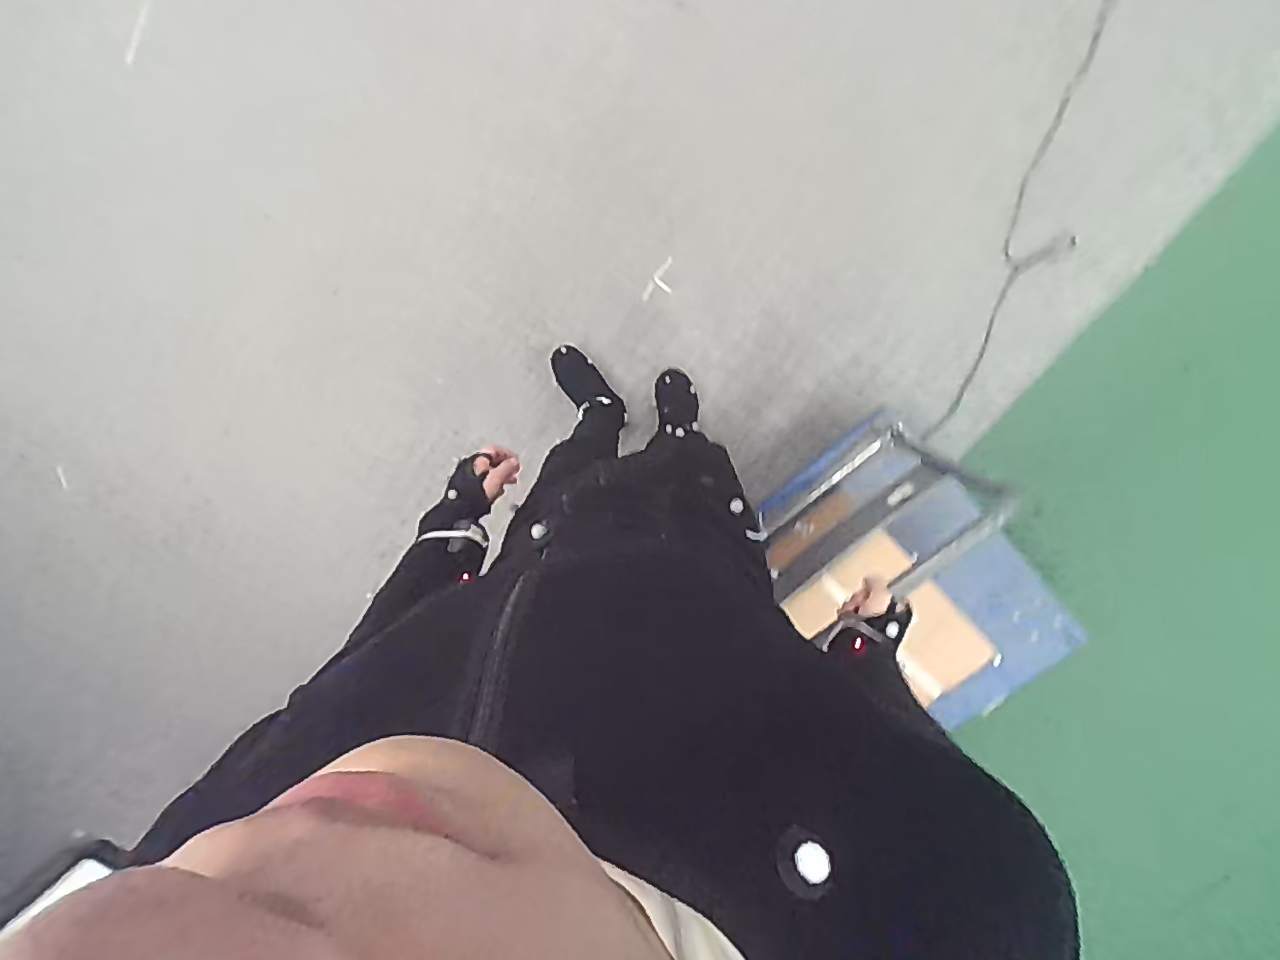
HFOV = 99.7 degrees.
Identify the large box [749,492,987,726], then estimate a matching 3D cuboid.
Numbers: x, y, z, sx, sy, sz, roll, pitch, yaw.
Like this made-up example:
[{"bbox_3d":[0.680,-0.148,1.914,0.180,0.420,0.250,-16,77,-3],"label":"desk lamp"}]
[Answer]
[{"bbox_3d":[0.530,0.299,1.341,0.320,0.320,0.408,-43,98,15],"label":"large box"}]
